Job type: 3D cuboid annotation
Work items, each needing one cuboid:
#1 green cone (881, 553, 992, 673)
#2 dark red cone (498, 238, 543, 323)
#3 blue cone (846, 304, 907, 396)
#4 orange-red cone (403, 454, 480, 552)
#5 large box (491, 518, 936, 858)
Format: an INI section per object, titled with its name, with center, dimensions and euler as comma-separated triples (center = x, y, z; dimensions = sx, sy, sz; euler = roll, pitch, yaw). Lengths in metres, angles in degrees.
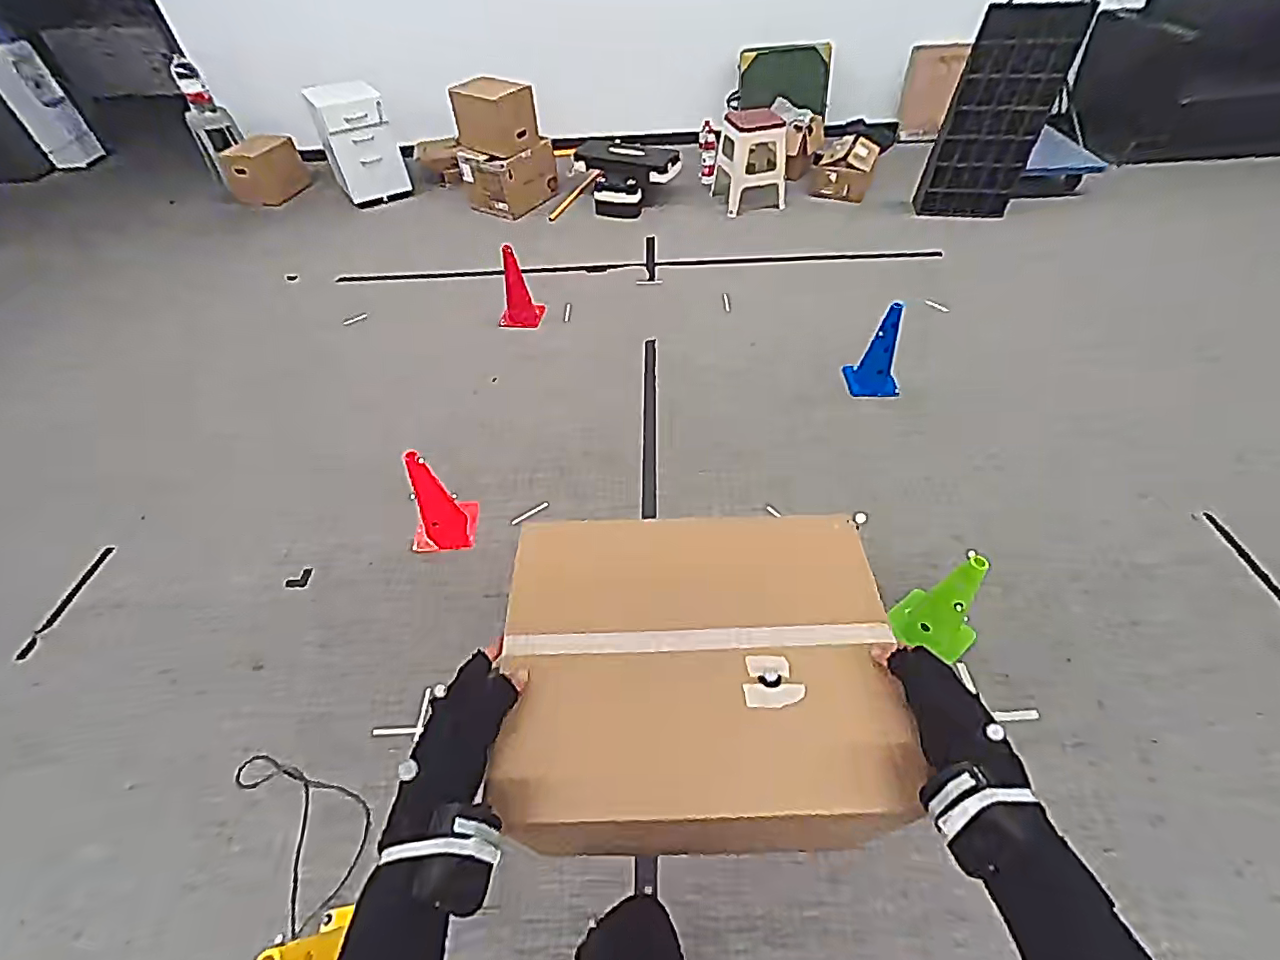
[green cone]
center = 0.815, 0.310, 1.407
dimensions = 0.202, 0.368, 0.200
euler = -30, 55, -23
[dark red cone]
center = -0.595, -0.943, 2.559
dimensions = 0.201, 0.394, 0.202
euler = 4, 49, 5
[blue cone]
center = 0.971, -0.526, 2.155
dimensions = 0.192, 0.380, 0.193
euler = 2, 49, 3
[orange-red cone]
center = -0.668, 0.051, 1.723
dimensions = 0.198, 0.360, 0.199
euler = -4, 50, 1
[large box]
center = 0.061, 0.266, 0.681
dimensions = 0.408, 0.320, 0.320
euler = -1, 51, -1
